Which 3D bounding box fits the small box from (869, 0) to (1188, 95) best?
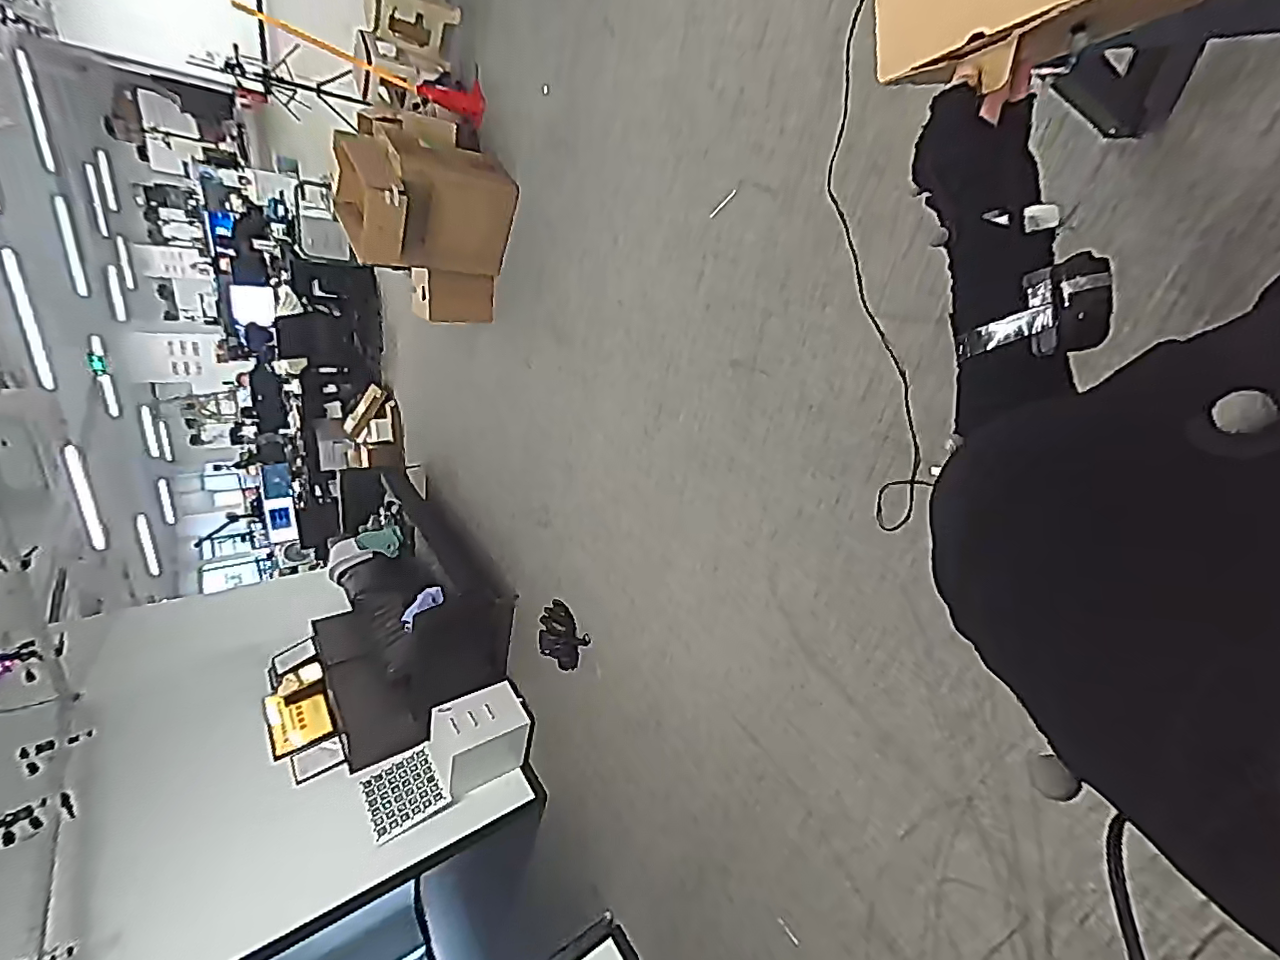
[{"bbox_3d":[0.296,-0.423,0.408,0.168,0.176,0.179,20,126,55],"label":"small box"}]
